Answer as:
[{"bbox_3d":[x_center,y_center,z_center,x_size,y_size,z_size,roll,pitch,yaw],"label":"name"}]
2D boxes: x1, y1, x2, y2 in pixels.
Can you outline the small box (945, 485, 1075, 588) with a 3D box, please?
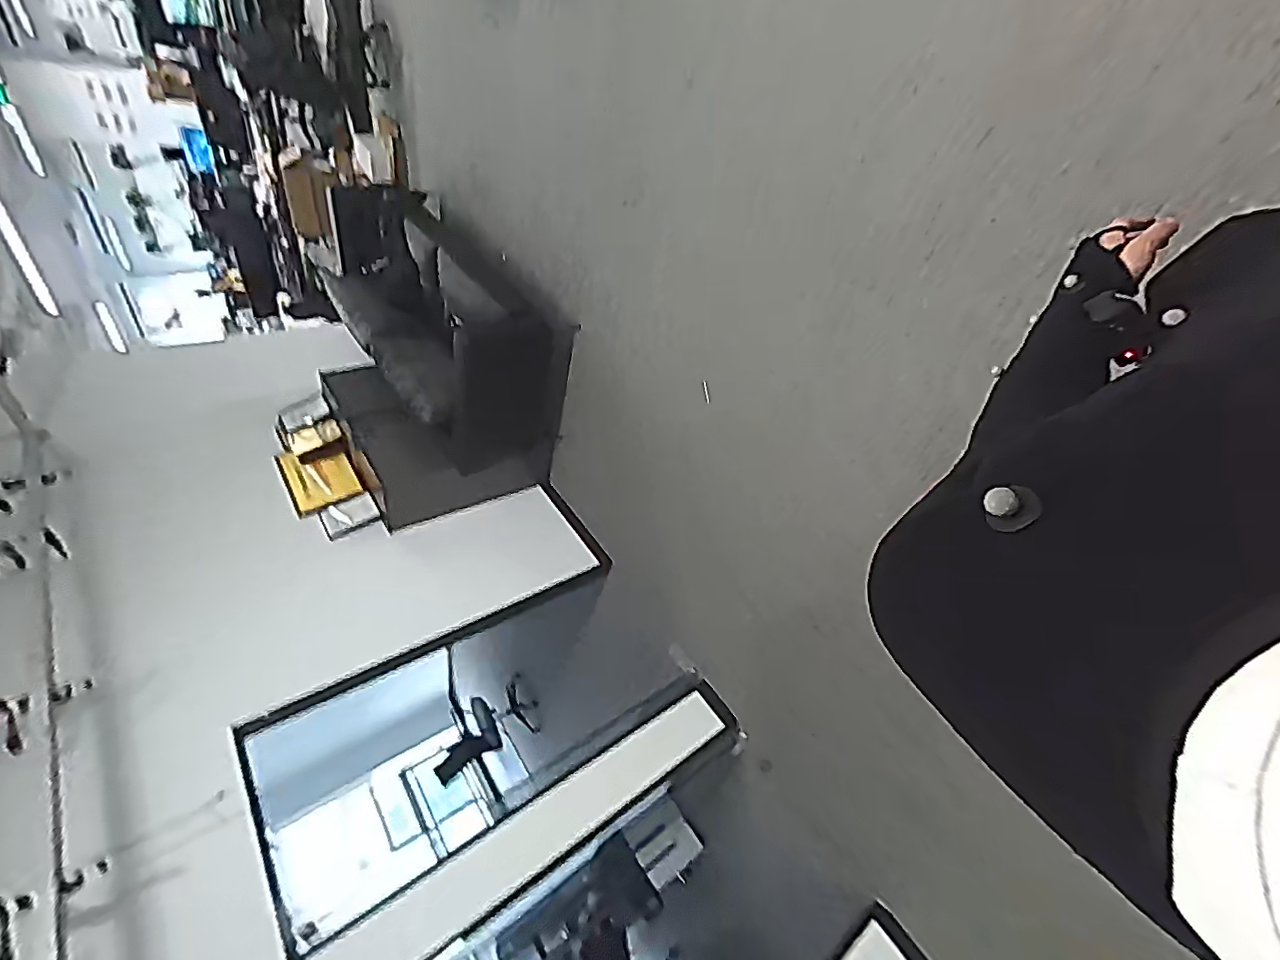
[{"bbox_3d":[0.910,0.130,1.332,0.179,0.176,0.168,54,144,22],"label":"small box"}]
